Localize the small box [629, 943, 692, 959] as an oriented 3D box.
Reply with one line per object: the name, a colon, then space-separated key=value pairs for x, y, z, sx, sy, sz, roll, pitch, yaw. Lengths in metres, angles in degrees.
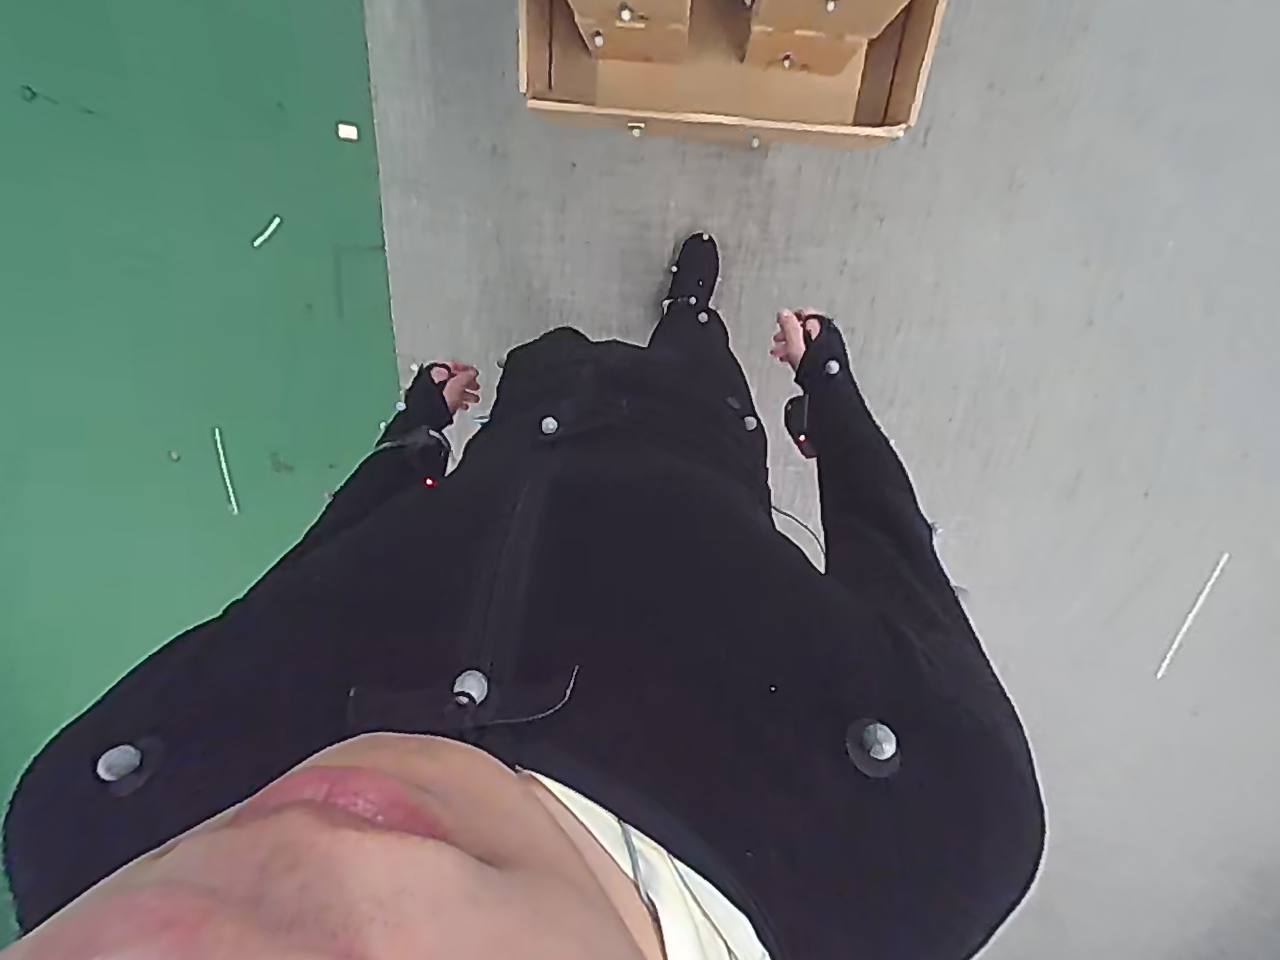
small box: x=0.050 y=1.334 z=1.389 sx=0.168 sy=0.176 sz=0.179 roll=2 pitch=114 yaw=5

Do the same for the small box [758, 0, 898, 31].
small box: x=0.249 y=-0.676 z=0.651 sx=0.179 sy=0.176 sz=0.168 roll=8 pitch=115 yaw=0

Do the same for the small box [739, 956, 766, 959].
small box: x=0.317 y=1.359 z=1.374 sx=0.179 sy=0.176 sz=0.168 roll=7 pitch=114 yaw=3

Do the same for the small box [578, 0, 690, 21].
small box: x=-0.011 y=-0.706 z=0.657 sx=0.168 sy=0.176 sz=0.179 roll=7 pitch=114 yaw=2
